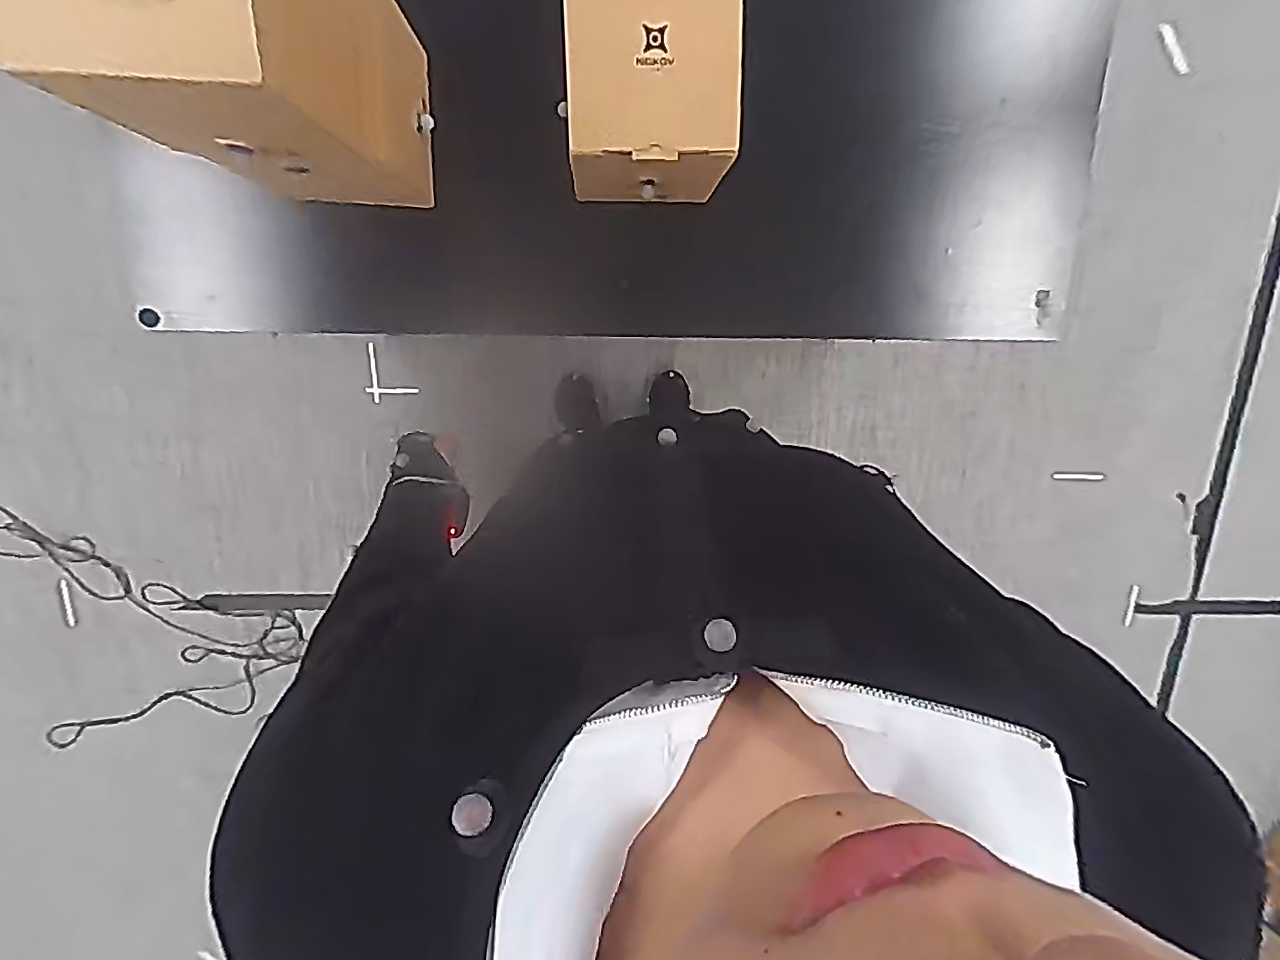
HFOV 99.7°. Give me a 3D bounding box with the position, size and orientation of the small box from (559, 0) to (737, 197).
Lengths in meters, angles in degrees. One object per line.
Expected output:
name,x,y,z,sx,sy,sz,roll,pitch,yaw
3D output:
small box,0.004,-0.418,0.581,0.168,0.176,0.179,-1,103,-3

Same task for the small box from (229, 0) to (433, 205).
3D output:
small box,-0.331,-0.398,0.561,0.179,0.176,0.168,1,103,-5

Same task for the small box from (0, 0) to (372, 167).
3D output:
small box,-0.323,-0.360,0.403,0.168,0.176,0.179,0,104,-3
